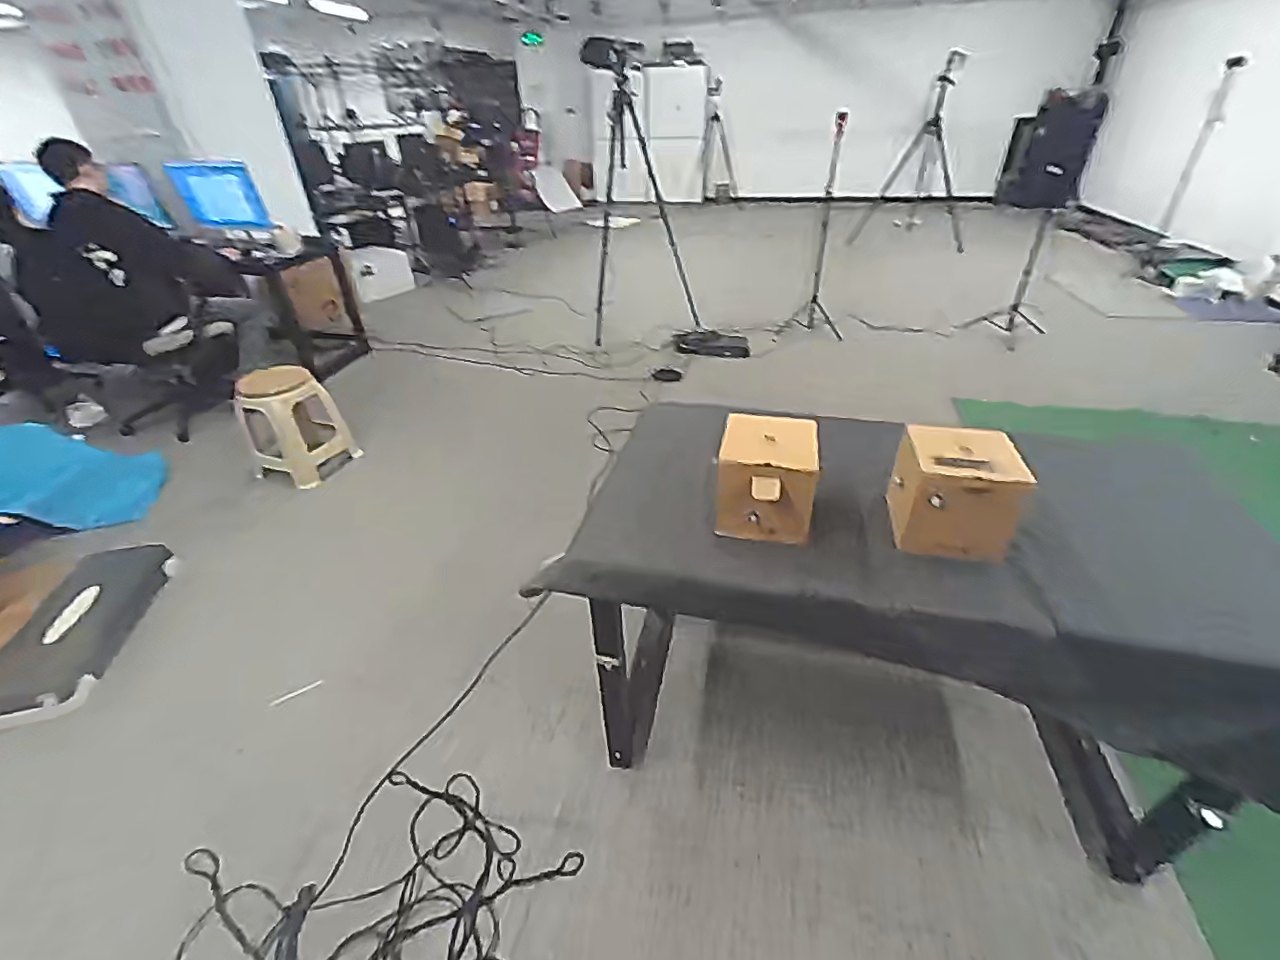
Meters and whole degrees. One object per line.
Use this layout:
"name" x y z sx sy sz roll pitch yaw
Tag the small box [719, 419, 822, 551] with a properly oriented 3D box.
"small box" 0.242 0.006 1.015 0.168 0.176 0.179 7 36 12
